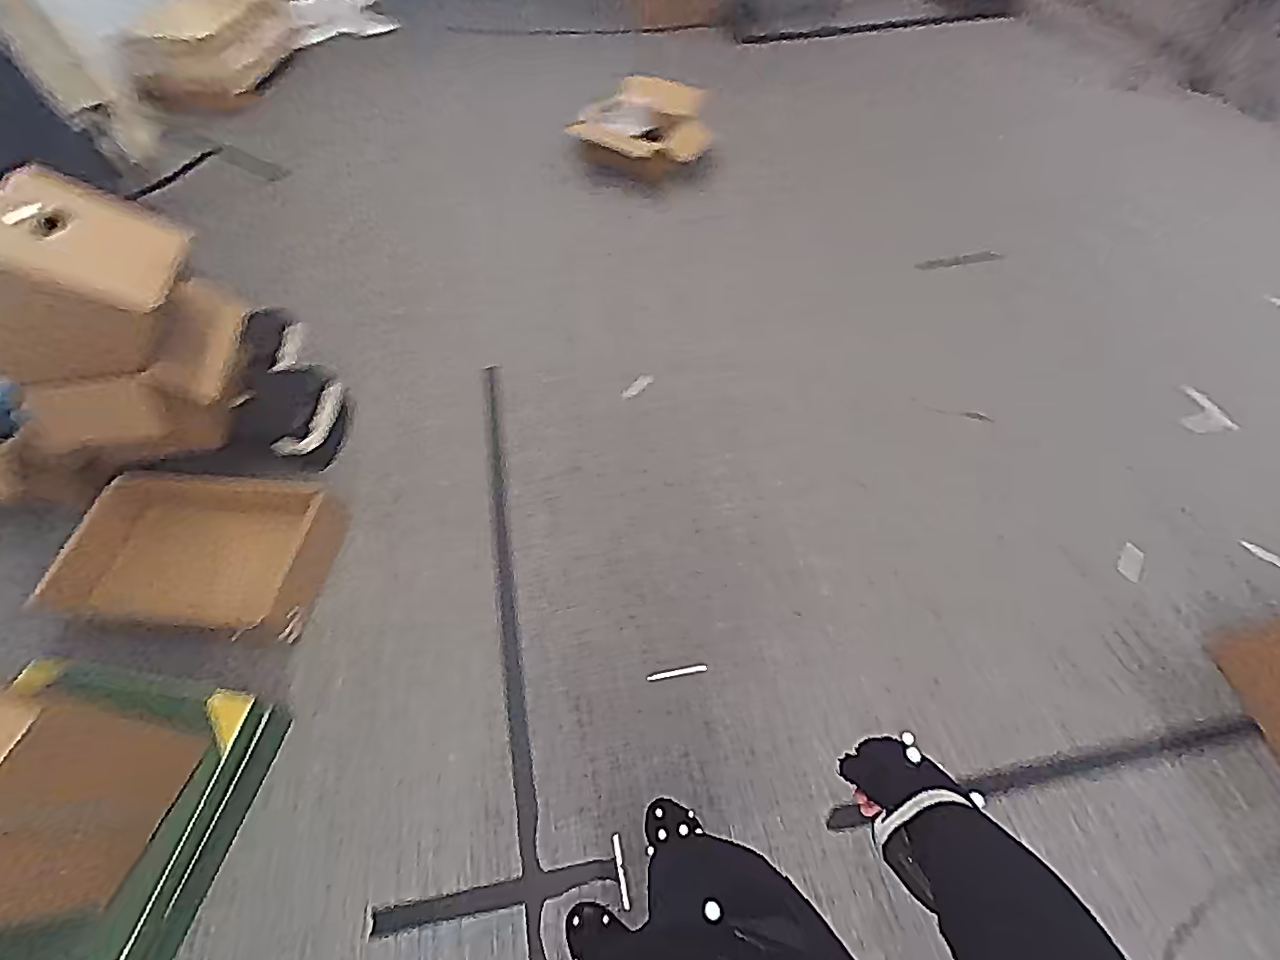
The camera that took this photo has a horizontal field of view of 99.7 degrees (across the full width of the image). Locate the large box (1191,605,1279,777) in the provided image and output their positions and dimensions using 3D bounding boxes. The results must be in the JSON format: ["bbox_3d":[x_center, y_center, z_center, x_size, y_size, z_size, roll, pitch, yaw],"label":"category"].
[{"bbox_3d":[1.646,0.496,1.235,0.320,0.320,0.408,-4,57,-2],"label":"large box"}]
